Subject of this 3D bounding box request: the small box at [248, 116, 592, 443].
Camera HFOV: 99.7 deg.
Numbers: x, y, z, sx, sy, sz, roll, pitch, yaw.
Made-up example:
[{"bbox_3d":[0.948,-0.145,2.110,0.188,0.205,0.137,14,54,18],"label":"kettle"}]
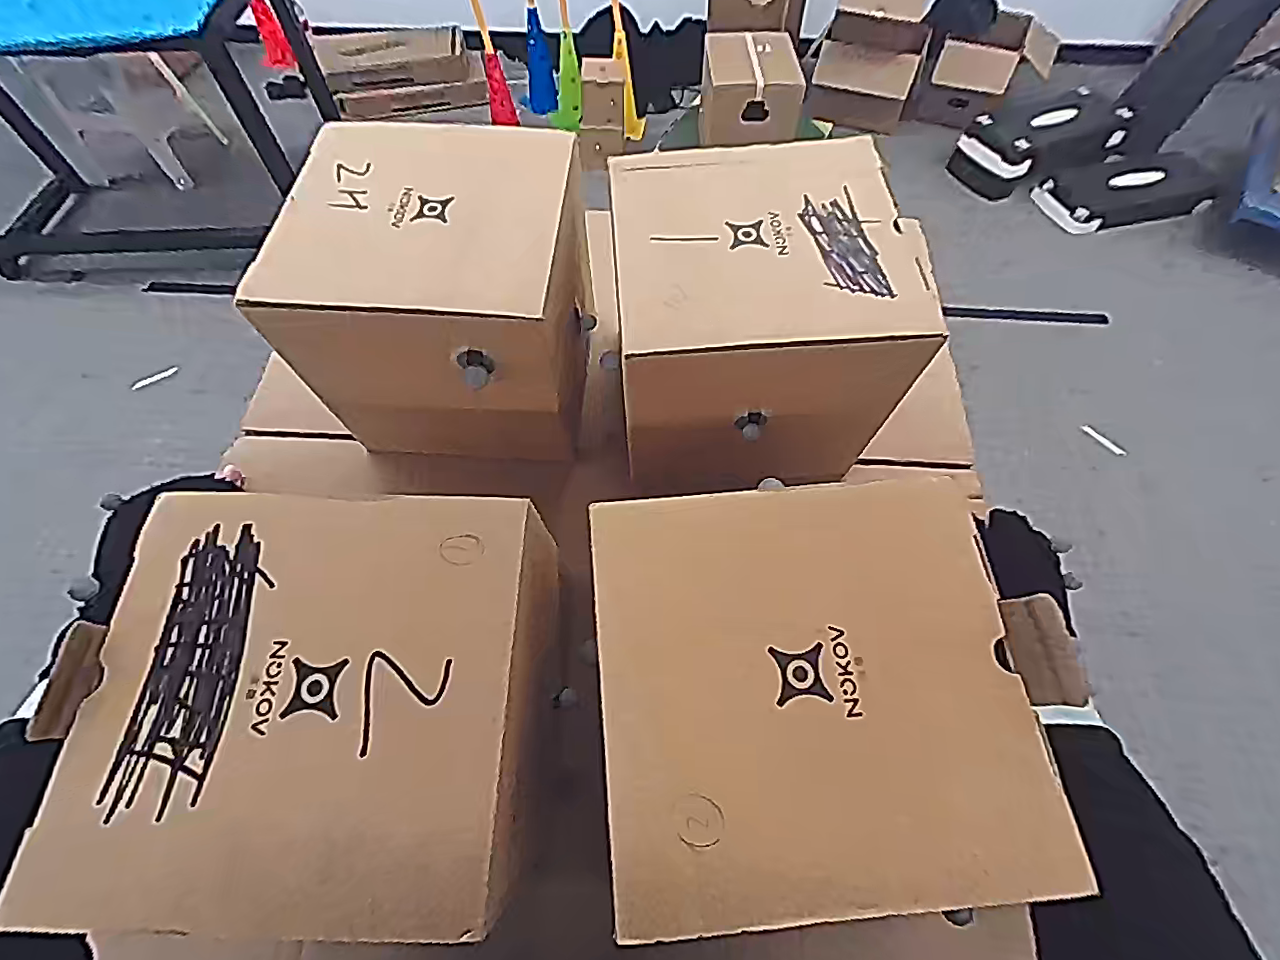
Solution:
[{"bbox_3d":[-0.135,-0.141,0.416,0.179,0.176,0.168,4,64,2],"label":"small box"}]
